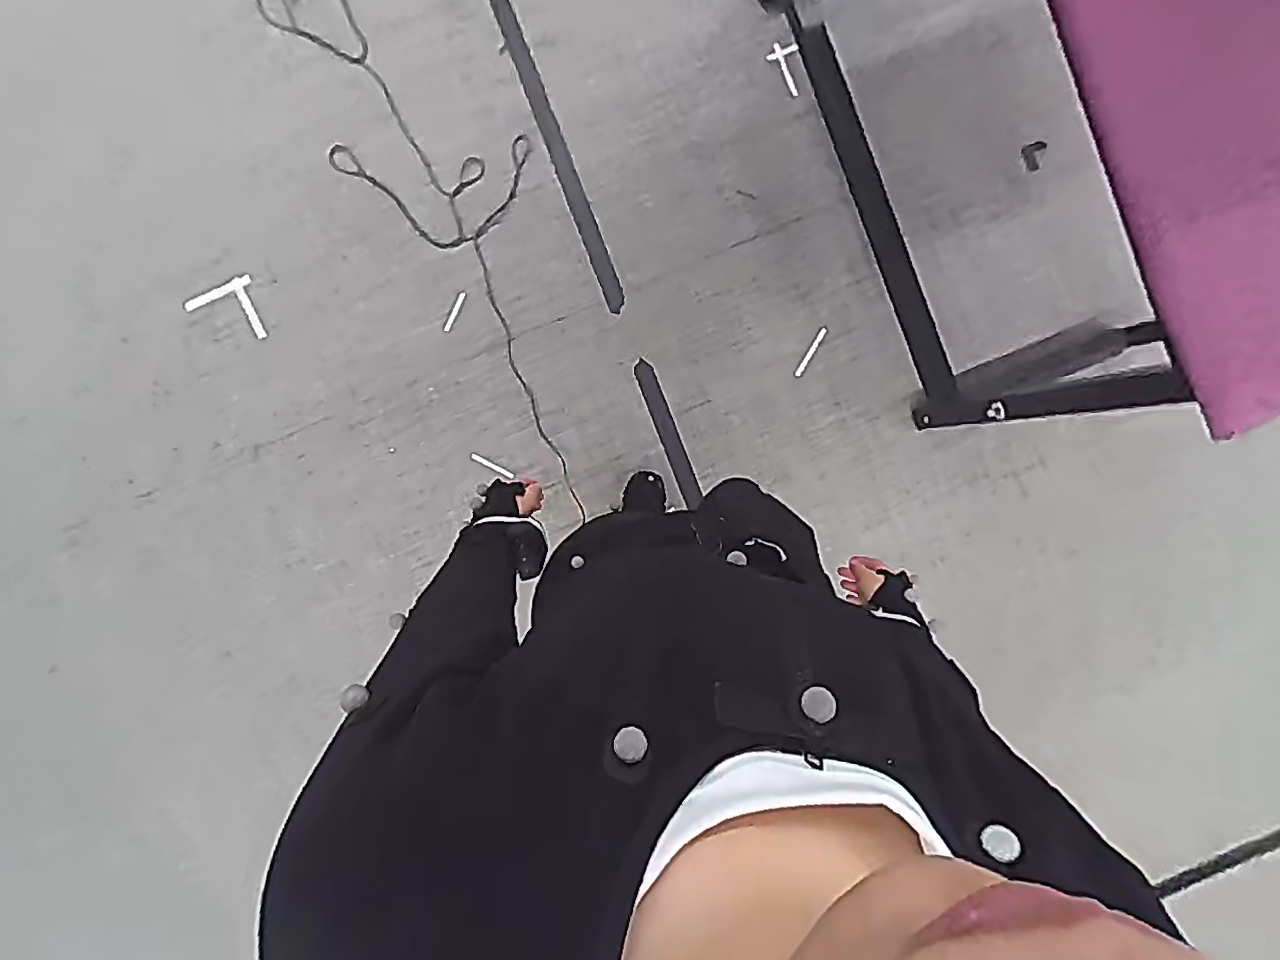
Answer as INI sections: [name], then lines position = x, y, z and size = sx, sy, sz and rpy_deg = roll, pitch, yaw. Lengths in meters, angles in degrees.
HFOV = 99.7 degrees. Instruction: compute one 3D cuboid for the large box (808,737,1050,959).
[large box]
position = 0.656, 0.918, 1.283
size = 0.320, 0.320, 0.408
rpy_deg = -23, 92, 0
